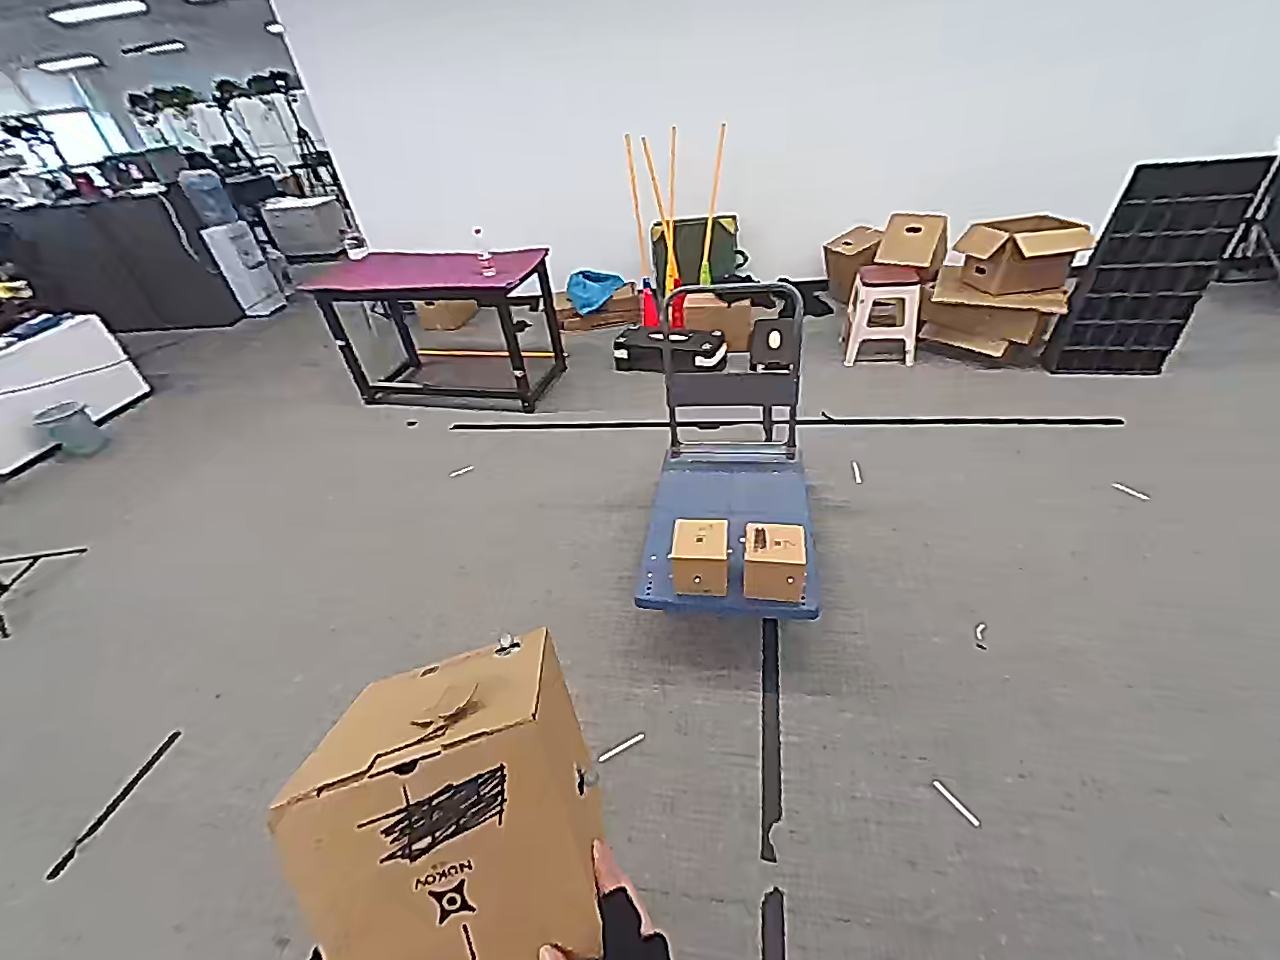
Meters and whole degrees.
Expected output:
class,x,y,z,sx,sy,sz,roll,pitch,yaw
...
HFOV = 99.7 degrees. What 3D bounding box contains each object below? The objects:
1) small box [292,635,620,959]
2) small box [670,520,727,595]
class,x,y,z,sx,sy,sz,roll,pitch,yaw
small box,-0.122,0.239,0.421,0.168,0.179,0.176,-16,6,-5
small box,0.191,0.249,1.720,0.168,0.176,0.179,1,37,10
